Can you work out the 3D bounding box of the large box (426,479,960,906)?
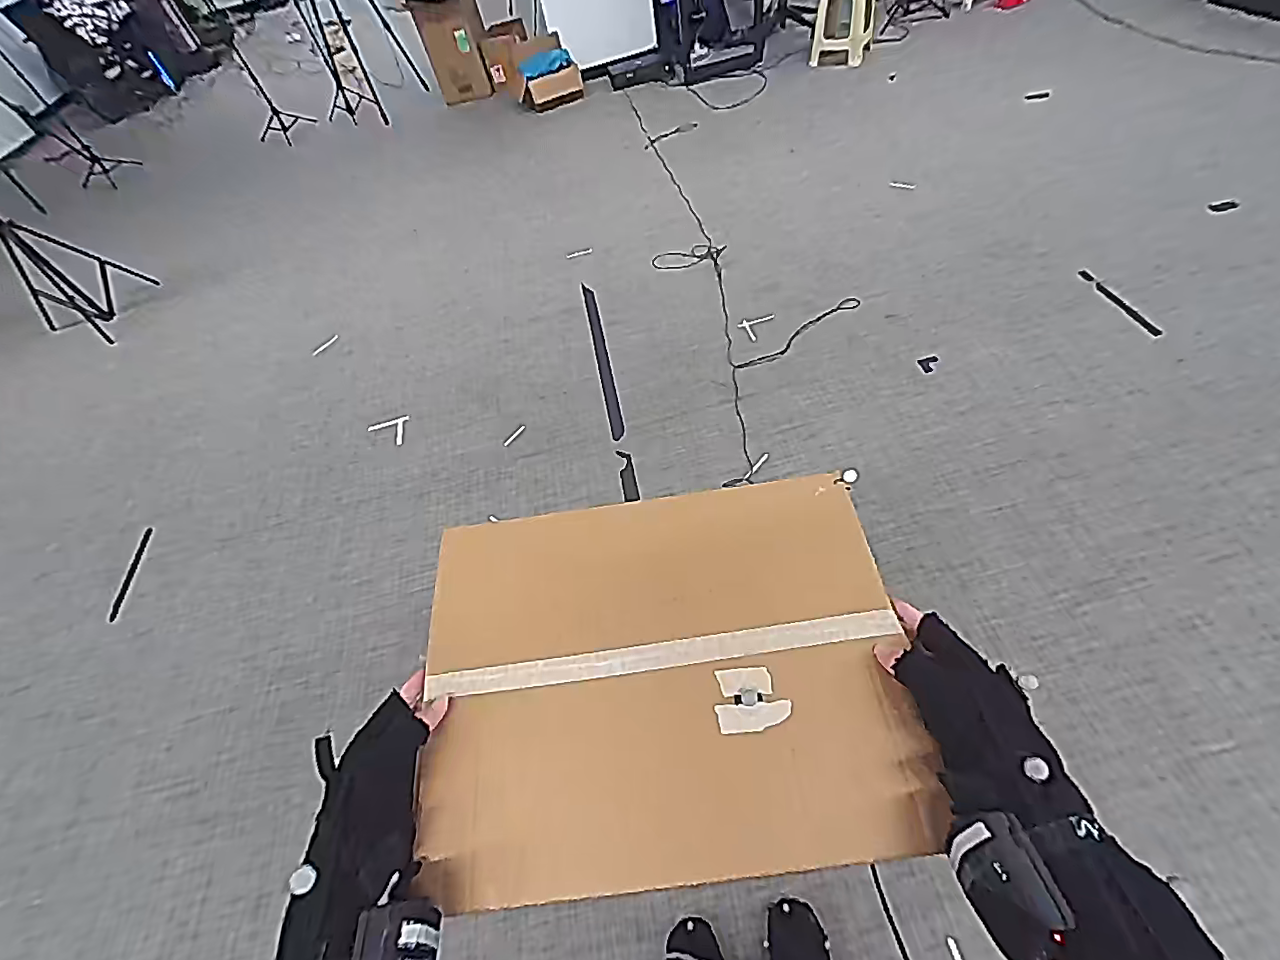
[{"bbox_3d":[0.032,0.236,0.596,0.408,0.320,0.320,-8,56,1],"label":"large box"}]
